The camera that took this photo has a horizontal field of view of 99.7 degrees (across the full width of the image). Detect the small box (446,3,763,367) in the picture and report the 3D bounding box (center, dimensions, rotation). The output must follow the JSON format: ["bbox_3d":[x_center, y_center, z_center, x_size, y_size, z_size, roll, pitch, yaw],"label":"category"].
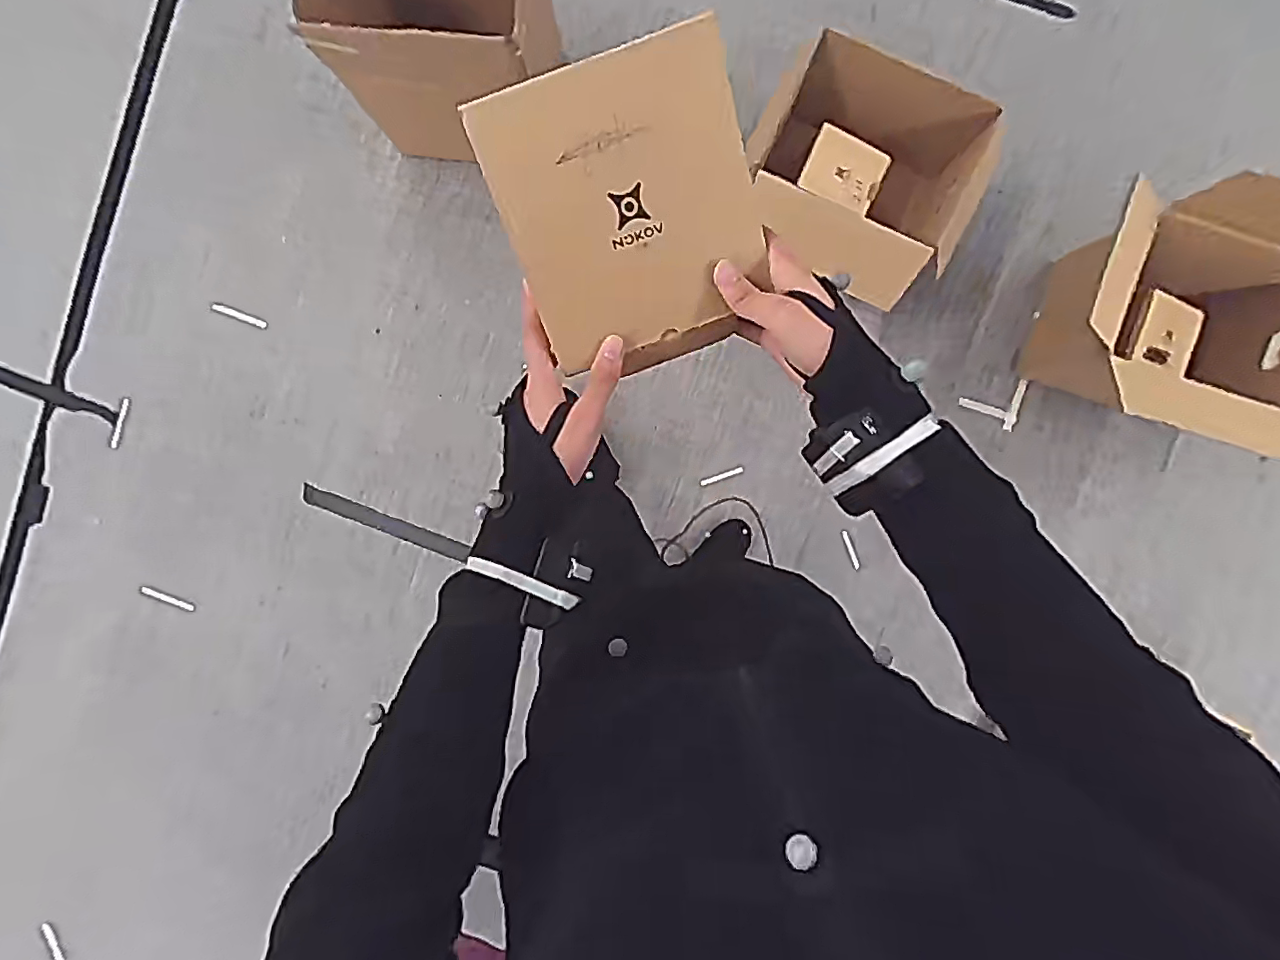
[{"bbox_3d":[-0.023,-0.211,0.427,0.168,0.176,0.179,-21,112,1],"label":"small box"}]
